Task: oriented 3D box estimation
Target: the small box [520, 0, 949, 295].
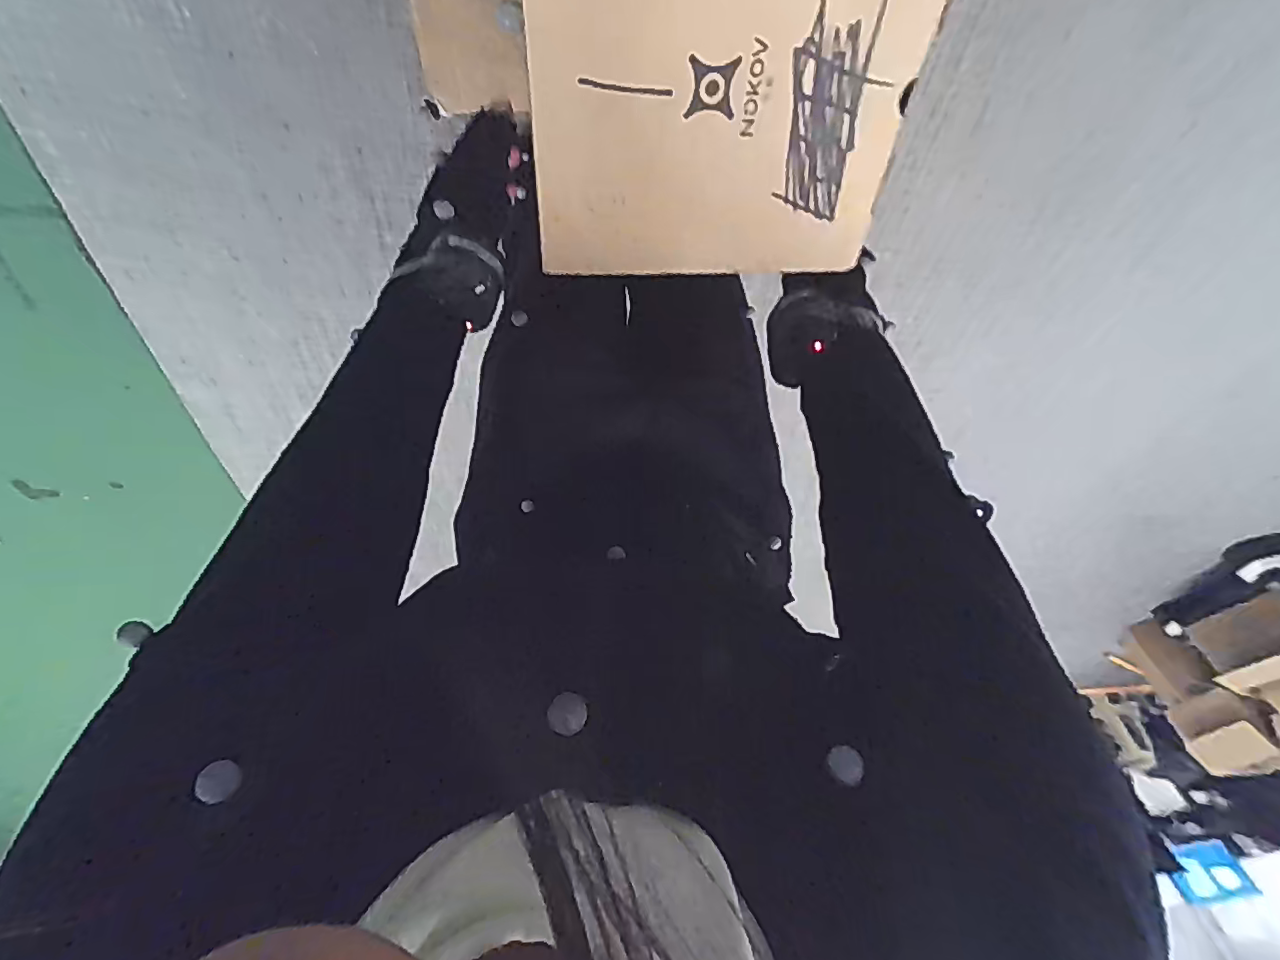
[{"bbox_3d":[0.029,-0.221,0.291,0.179,0.176,0.168,-6,138,-5],"label":"small box"}]
